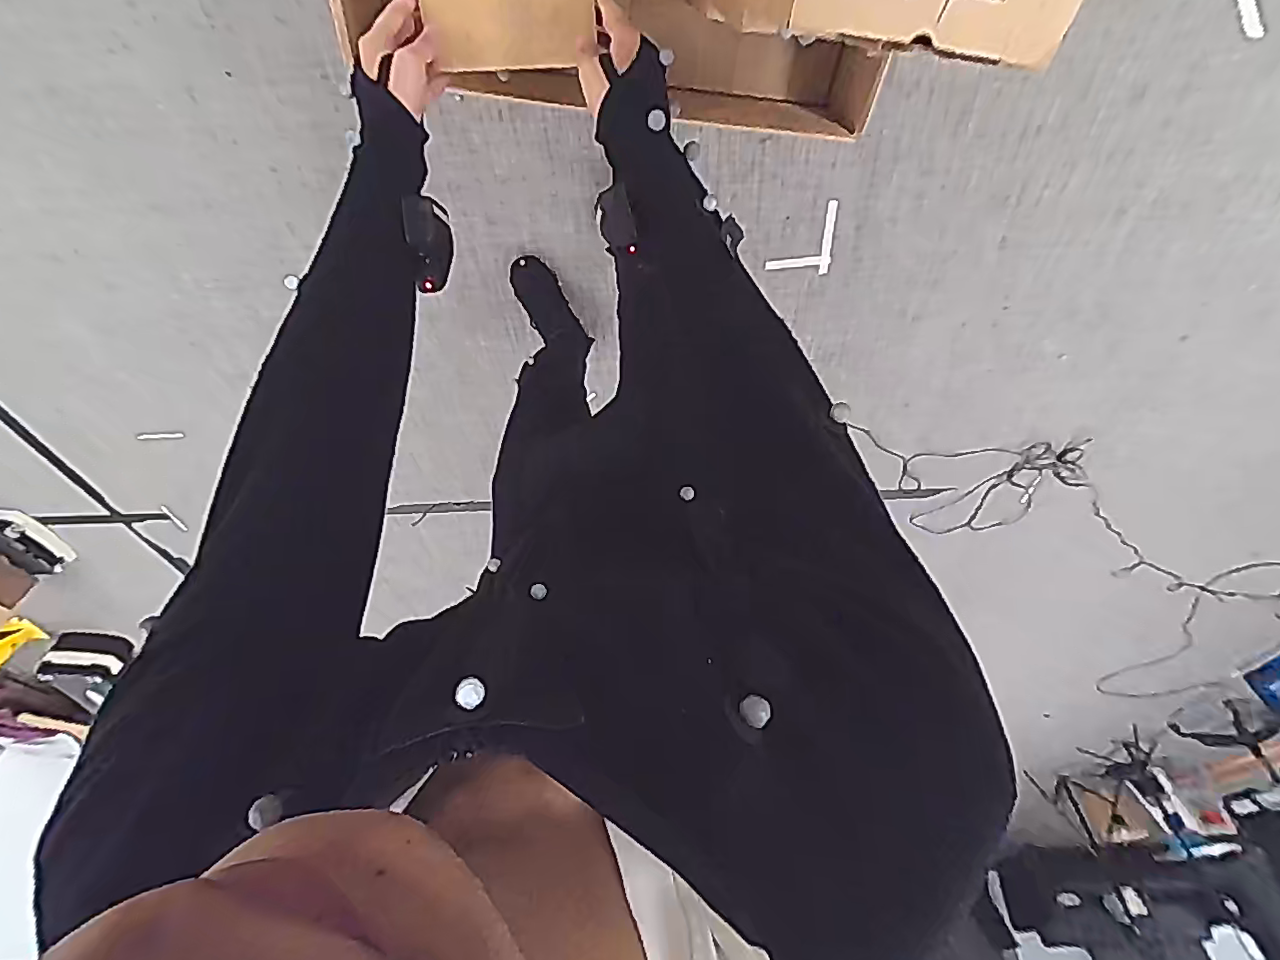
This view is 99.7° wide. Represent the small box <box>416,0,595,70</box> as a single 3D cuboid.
[{"bbox_3d":[-0.131,-0.525,0.533,0.168,0.176,0.179,-4,131,-3],"label":"small box"}]

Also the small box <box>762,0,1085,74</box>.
[{"bbox_3d":[0.172,-0.367,0.311,0.168,0.176,0.179,5,134,-6],"label":"small box"}]

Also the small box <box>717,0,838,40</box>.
[{"bbox_3d":[0.169,-0.473,0.438,0.179,0.176,0.168,1,135,-4],"label":"small box"}]
